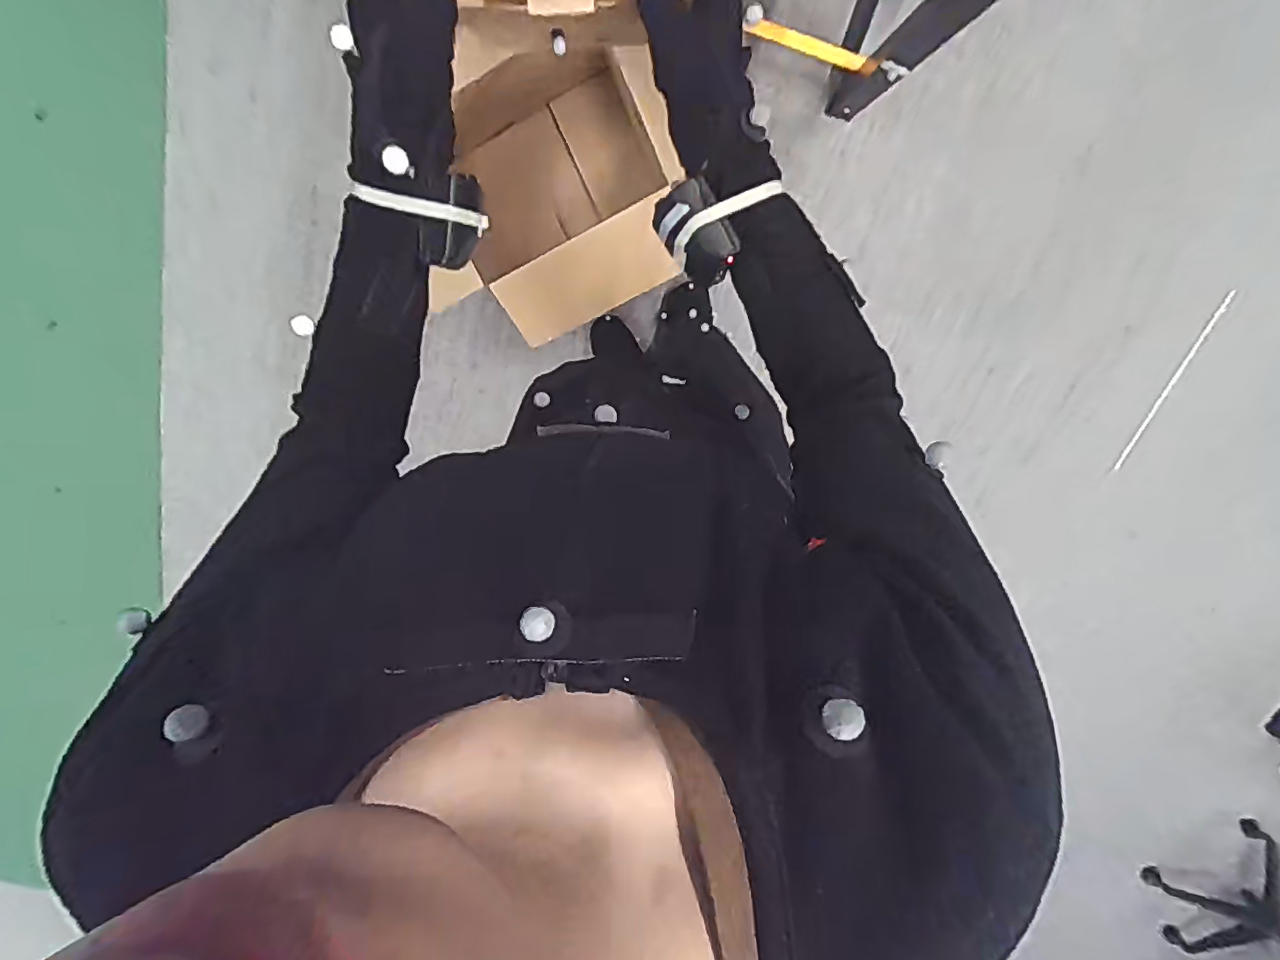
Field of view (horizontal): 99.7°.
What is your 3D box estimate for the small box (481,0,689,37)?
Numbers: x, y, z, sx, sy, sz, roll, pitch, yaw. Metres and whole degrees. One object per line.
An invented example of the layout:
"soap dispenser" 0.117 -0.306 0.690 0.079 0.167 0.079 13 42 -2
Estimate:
"small box" -0.048 -0.438 0.378 0.168 0.176 0.179 -2 123 0
